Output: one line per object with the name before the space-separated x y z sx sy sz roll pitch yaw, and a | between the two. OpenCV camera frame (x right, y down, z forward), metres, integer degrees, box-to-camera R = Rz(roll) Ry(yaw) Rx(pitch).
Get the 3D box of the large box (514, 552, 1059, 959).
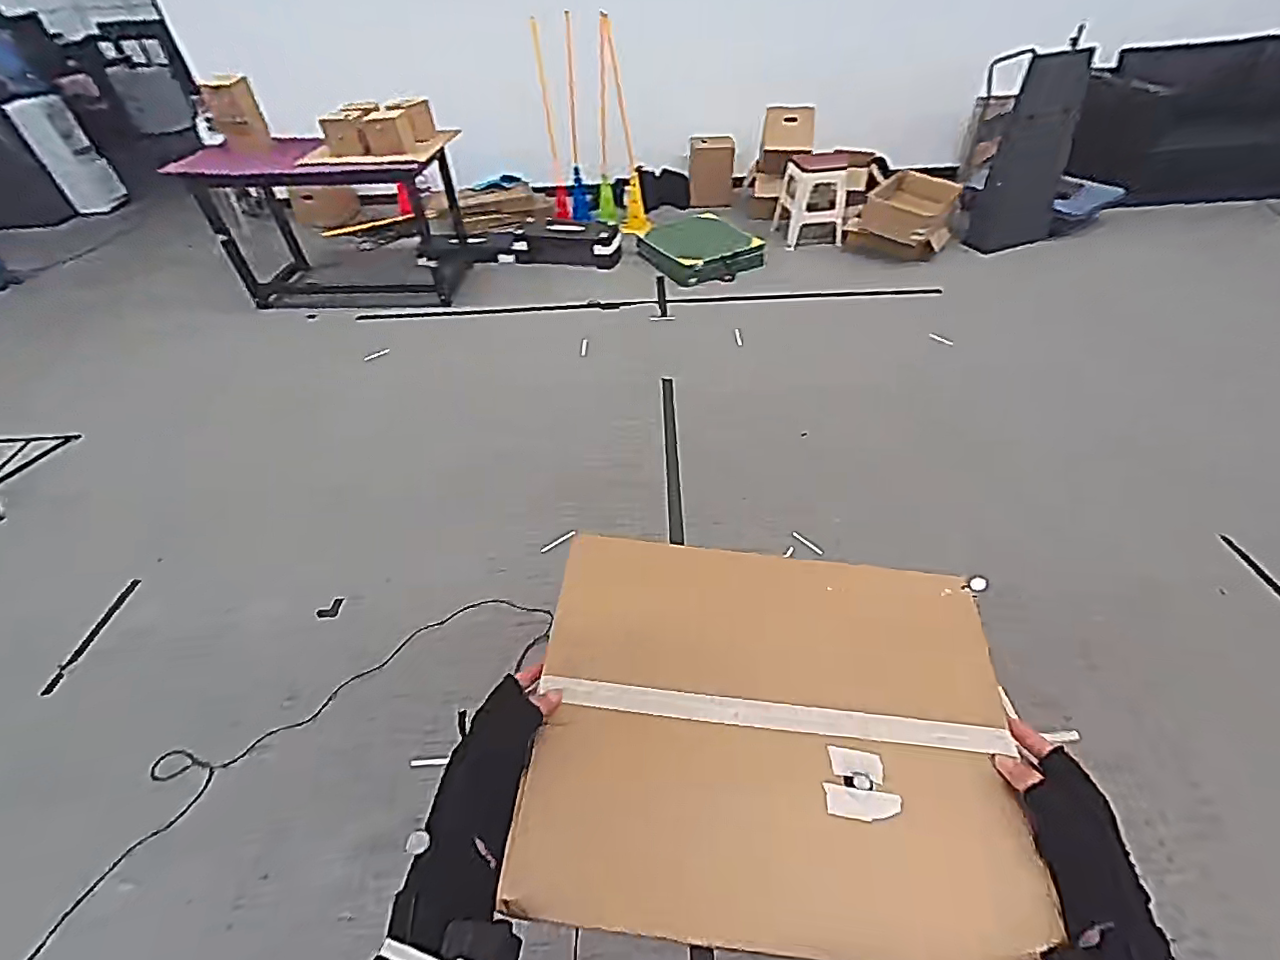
large box | 0.109 0.301 0.595 0.408 0.320 0.320 5 54 2
